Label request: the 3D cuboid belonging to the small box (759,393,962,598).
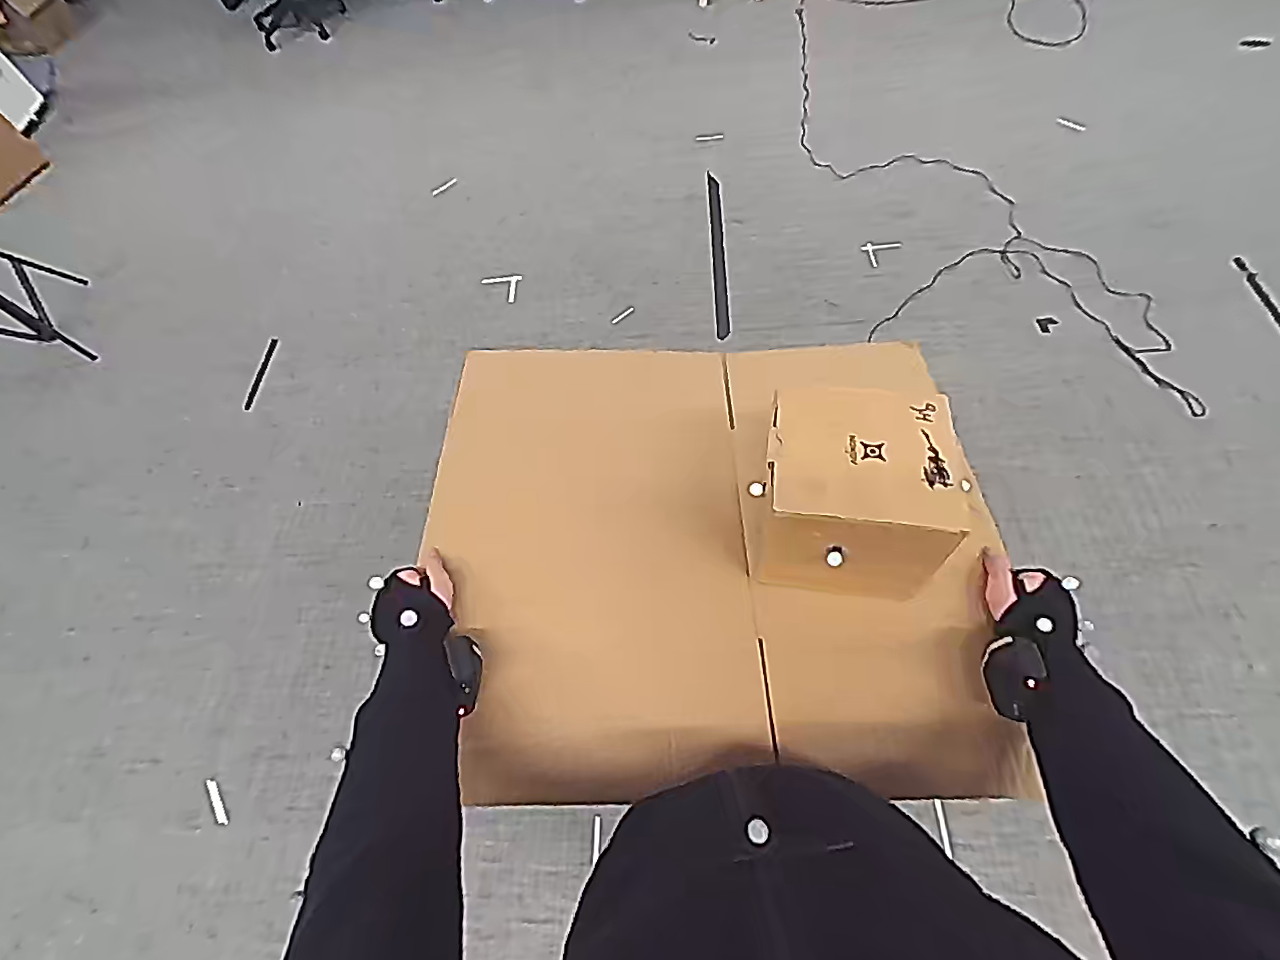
[{"bbox_3d":[0.230,0.021,0.610,0.179,0.176,0.168,5,57,11],"label":"small box"}]
